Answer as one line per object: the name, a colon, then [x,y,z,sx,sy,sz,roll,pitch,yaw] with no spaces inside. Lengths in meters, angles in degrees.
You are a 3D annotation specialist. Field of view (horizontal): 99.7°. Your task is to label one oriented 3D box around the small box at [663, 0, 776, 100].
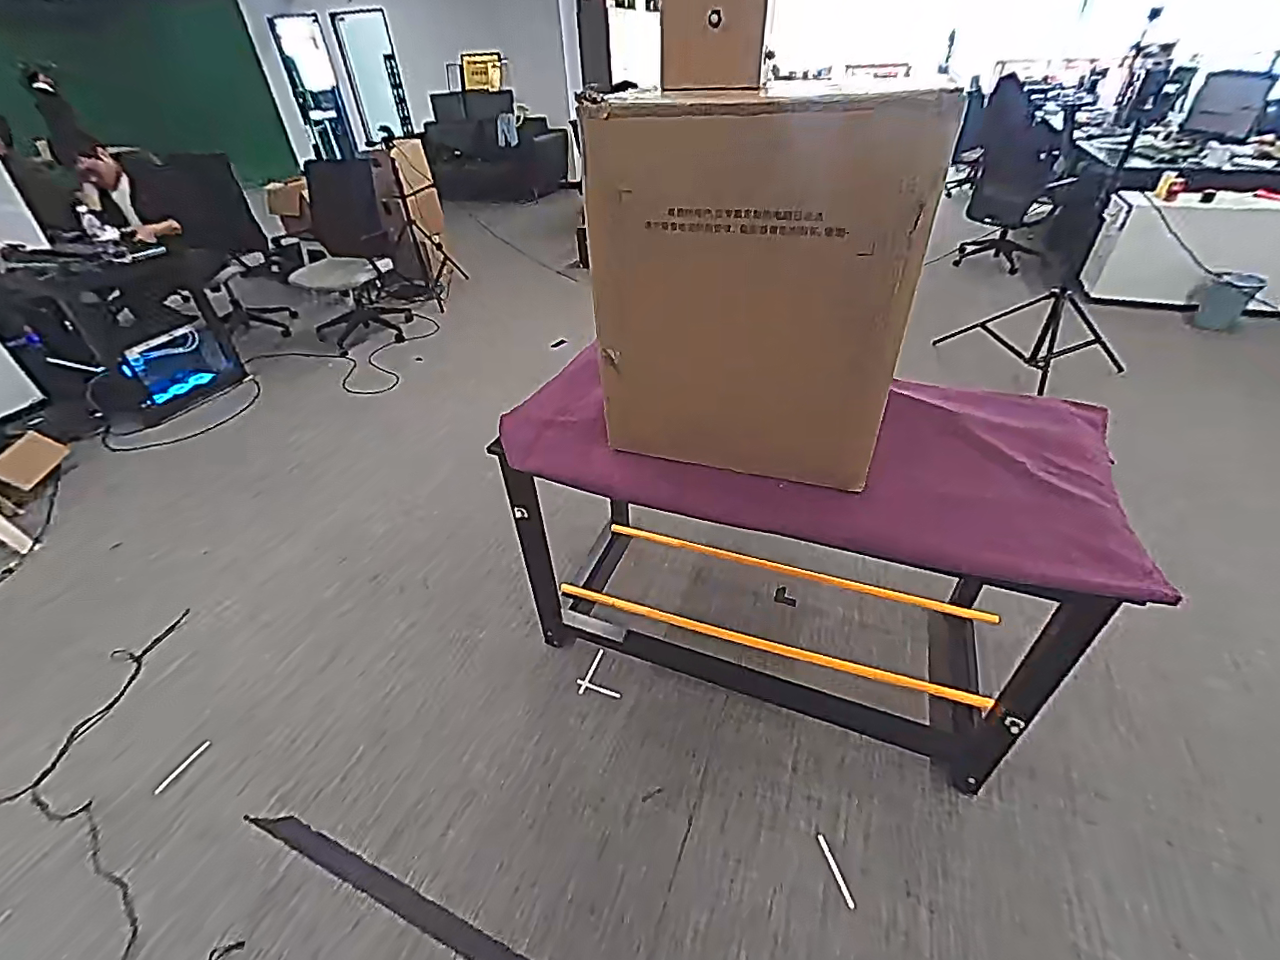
small box: [0.133,-0.745,0.901,0.168,0.176,0.179,9,40,13]
